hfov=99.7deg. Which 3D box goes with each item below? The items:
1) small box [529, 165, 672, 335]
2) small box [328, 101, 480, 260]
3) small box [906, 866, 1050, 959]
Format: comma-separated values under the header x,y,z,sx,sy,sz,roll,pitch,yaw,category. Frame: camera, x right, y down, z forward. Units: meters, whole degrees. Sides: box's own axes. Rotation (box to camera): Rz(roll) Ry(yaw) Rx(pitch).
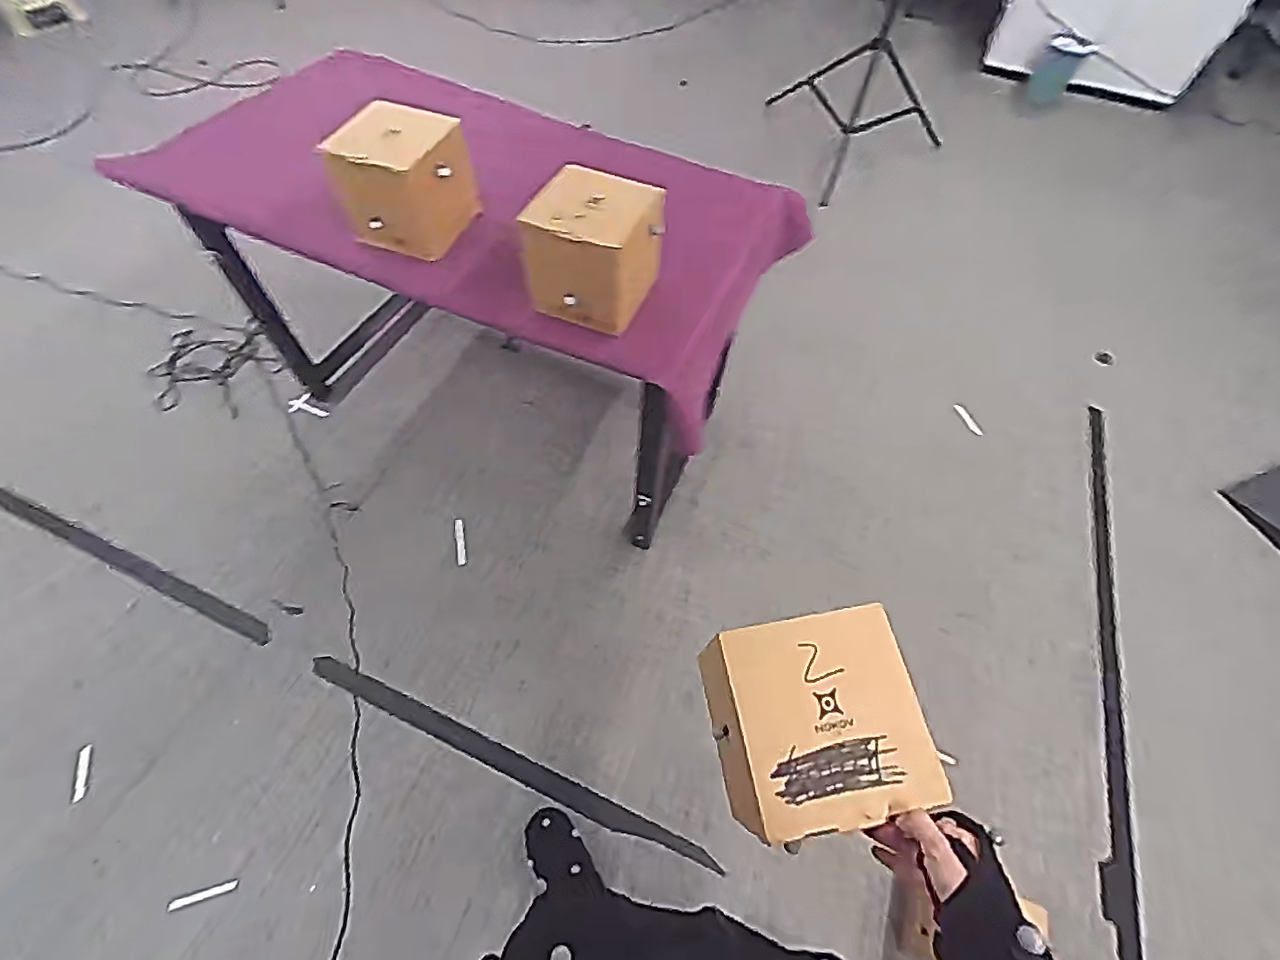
x,y,z,sx,sy,sz,roll,pitch,yaw,category
-0.061,-0.373,0.886,0.168,0.176,0.179,21,60,11,small box
-0.402,-0.530,0.963,0.168,0.176,0.179,18,60,8,small box
0.638,0.867,1.033,0.179,0.176,0.168,21,60,8,small box
